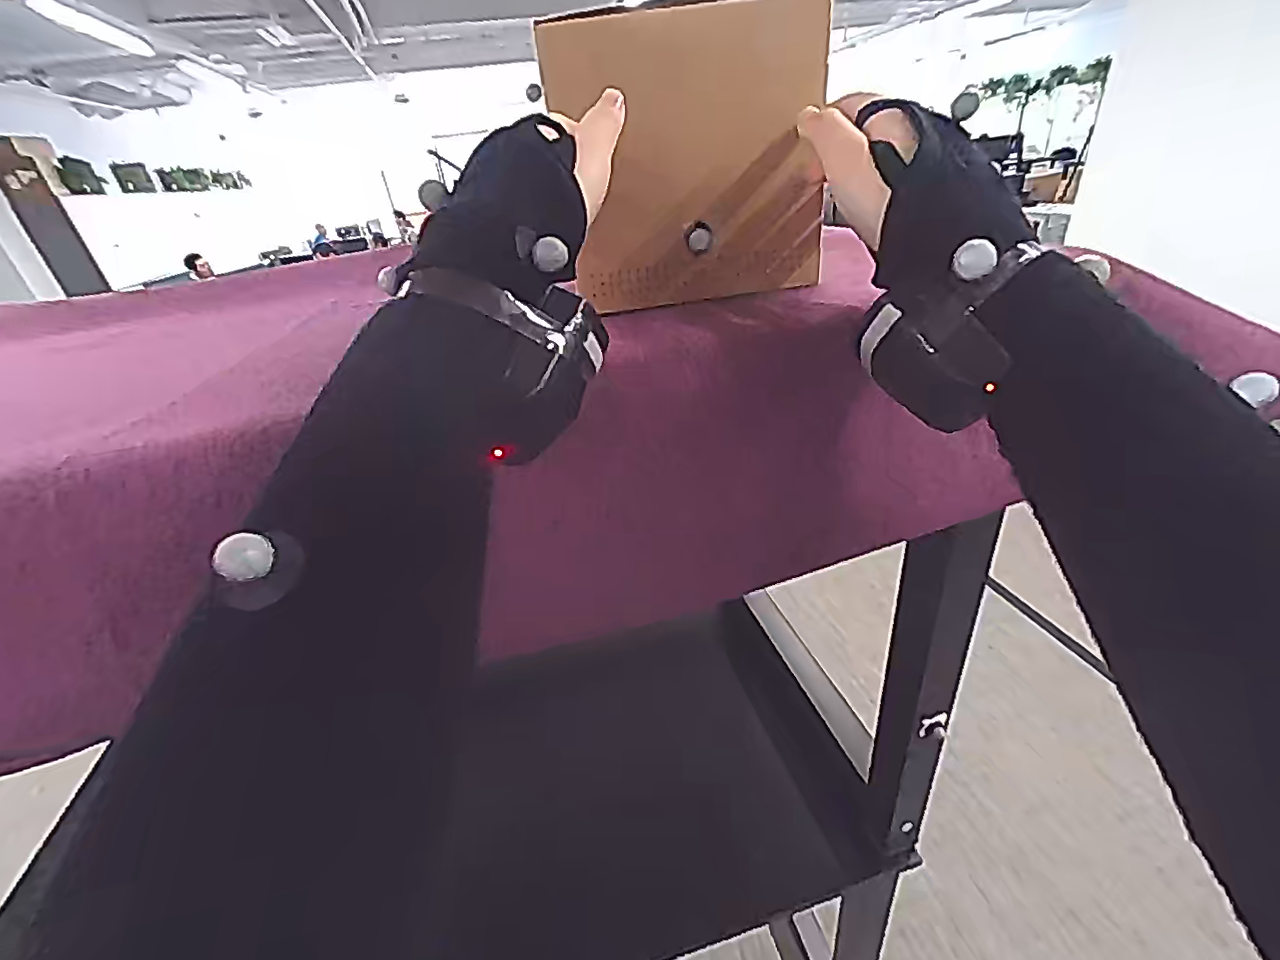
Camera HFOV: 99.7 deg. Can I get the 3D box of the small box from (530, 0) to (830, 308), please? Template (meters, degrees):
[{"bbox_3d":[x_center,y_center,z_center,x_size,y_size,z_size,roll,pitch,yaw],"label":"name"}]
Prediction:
[{"bbox_3d":[0.025,-0.240,0.413,0.179,0.176,0.168,-8,29,-2],"label":"small box"}]
